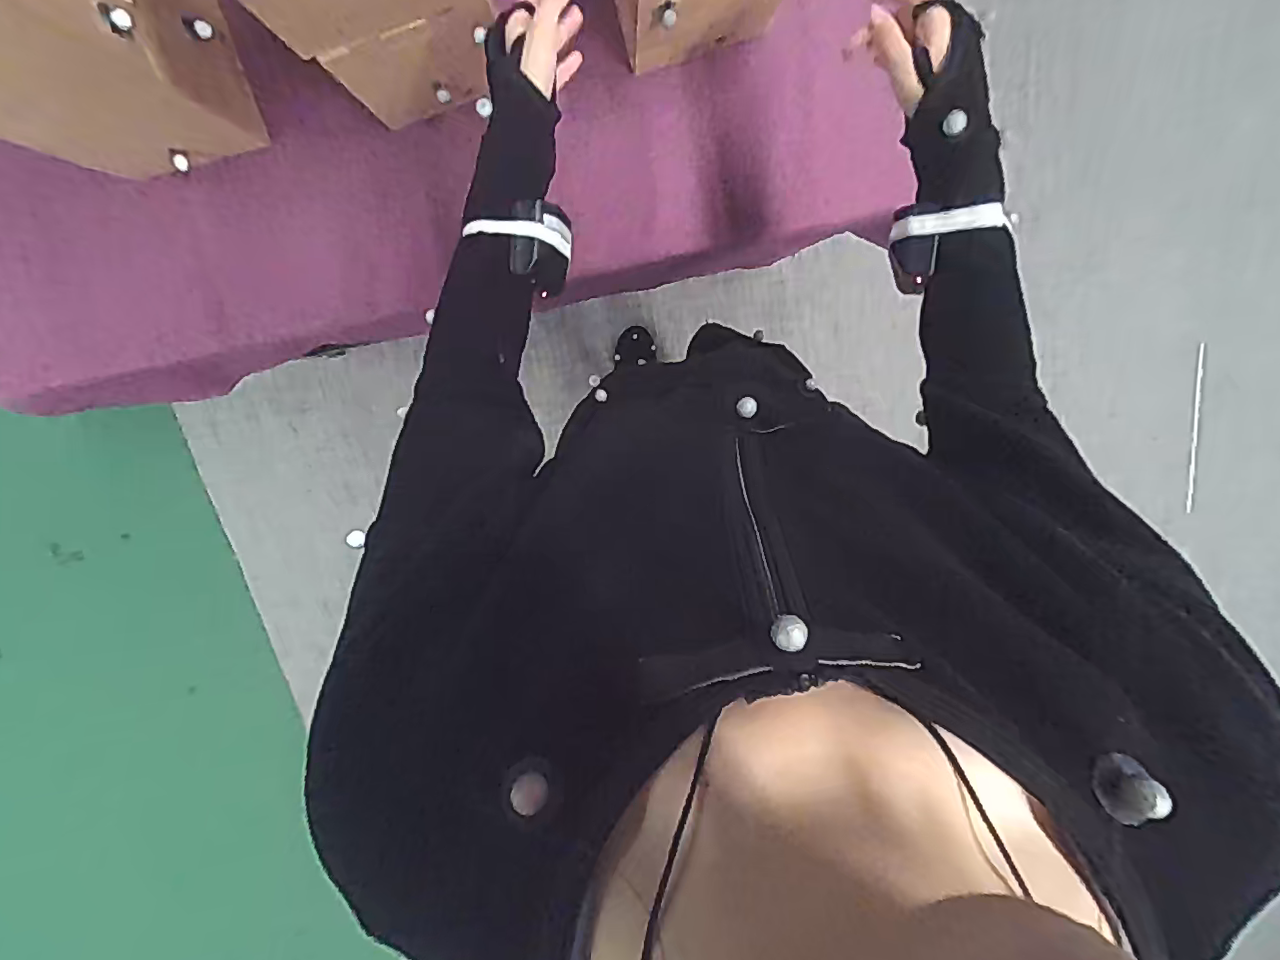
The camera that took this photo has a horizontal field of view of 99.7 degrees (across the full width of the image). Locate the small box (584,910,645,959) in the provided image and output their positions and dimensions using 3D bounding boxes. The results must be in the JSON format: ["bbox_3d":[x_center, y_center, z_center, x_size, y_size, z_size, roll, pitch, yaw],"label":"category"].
[{"bbox_3d":[-0.083,1.571,1.782,0.179,0.176,0.168,-16,103,3],"label":"small box"}]

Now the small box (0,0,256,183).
[{"bbox_3d":[-0.539,-0.428,0.551,0.179,0.176,0.168,-13,104,1],"label":"small box"}]

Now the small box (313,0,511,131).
[{"bbox_3d":[-0.248,-0.497,0.545,0.168,0.176,0.179,-18,105,3],"label":"small box"}]

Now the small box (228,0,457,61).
[{"bbox_3d":[-0.244,-0.452,0.388,0.179,0.176,0.168,-16,104,3],"label":"small box"}]
